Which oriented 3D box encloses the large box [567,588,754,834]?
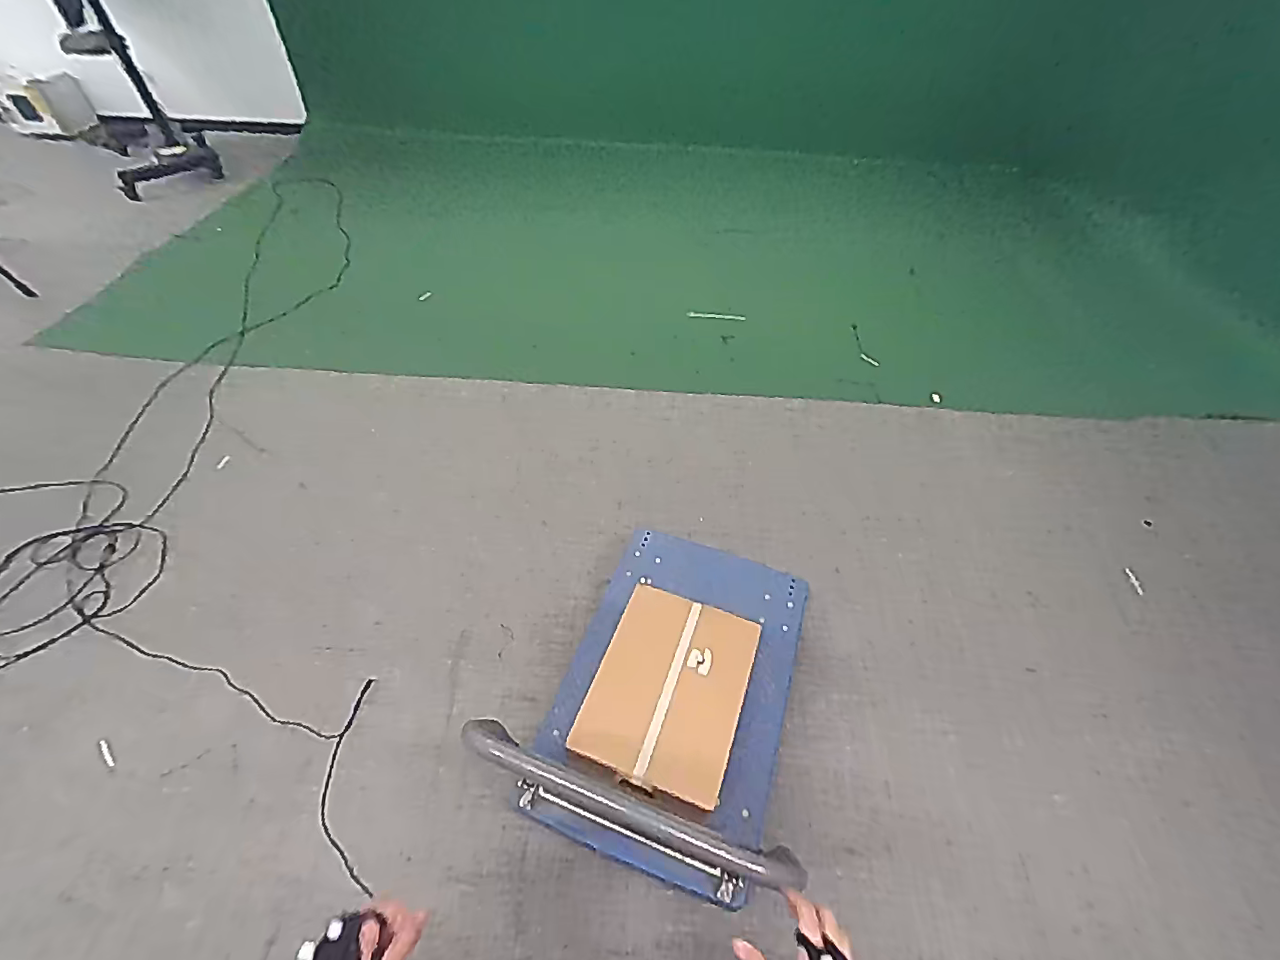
[{"bbox_3d":[0.056,0.542,1.287,0.320,0.320,0.408,17,49,12],"label":"large box"}]
